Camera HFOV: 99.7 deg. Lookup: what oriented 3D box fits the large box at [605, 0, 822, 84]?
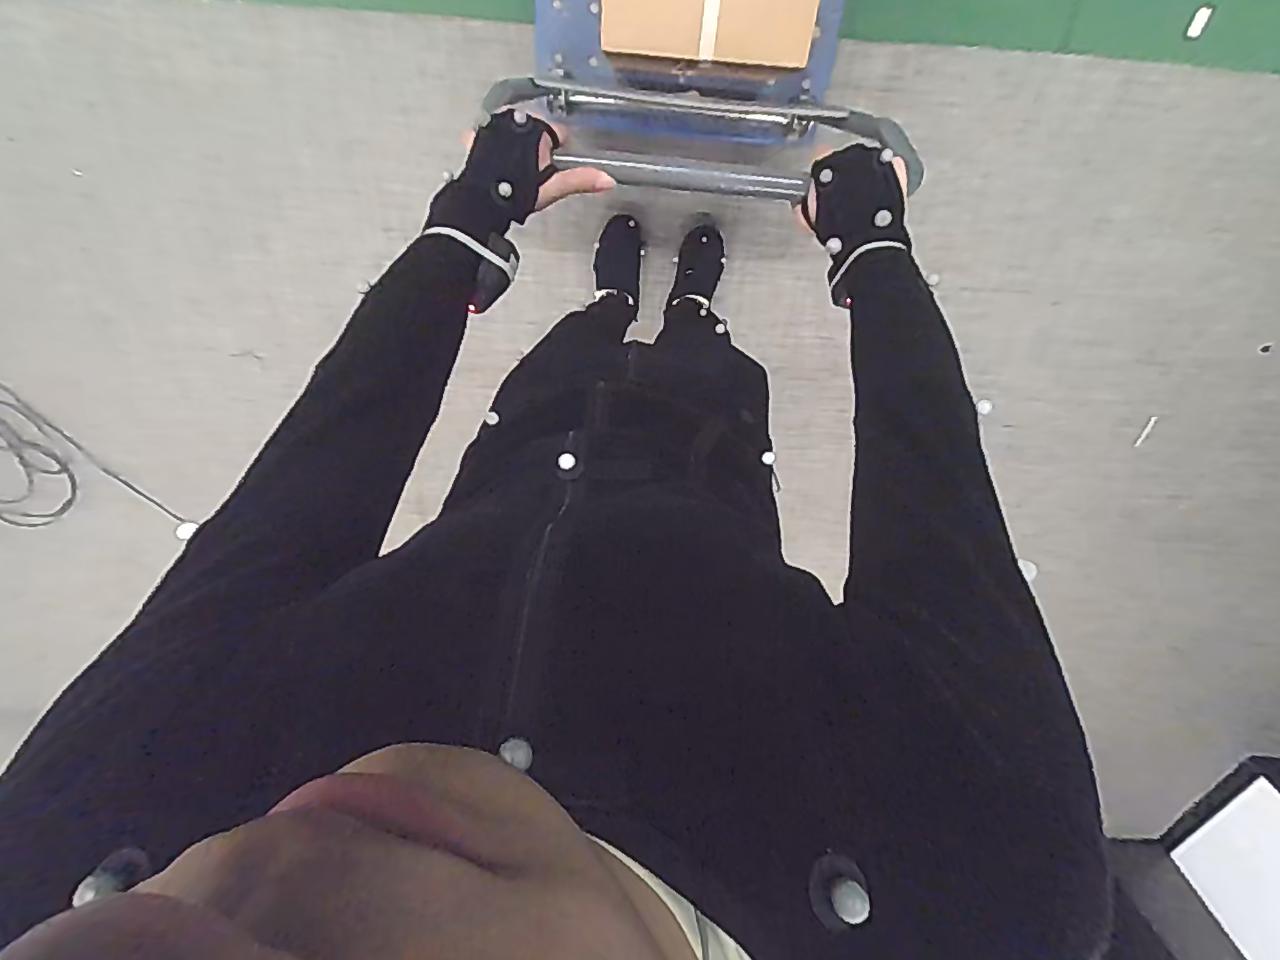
[{"bbox_3d":[0.119,-0.874,0.832,0.320,0.320,0.408,4,123,-2],"label":"large box"}]
